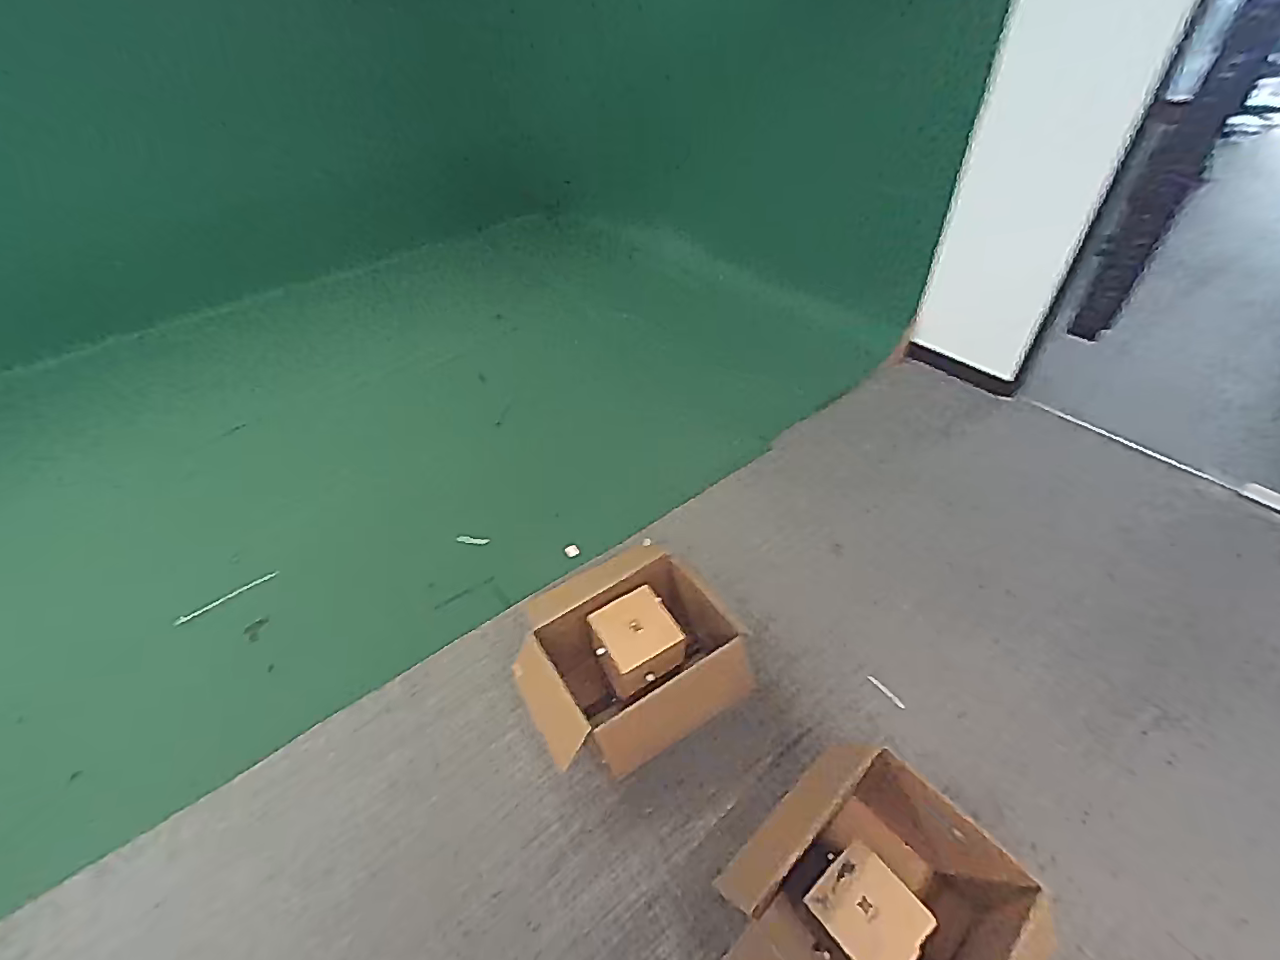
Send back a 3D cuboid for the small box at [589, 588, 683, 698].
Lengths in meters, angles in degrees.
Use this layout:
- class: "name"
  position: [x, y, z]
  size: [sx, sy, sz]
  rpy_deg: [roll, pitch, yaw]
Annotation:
- class: "small box"
  position: [-0.007, 0.406, 1.327]
  size: [0.168, 0.176, 0.179]
  rpy_deg: [-25, 48, -20]
